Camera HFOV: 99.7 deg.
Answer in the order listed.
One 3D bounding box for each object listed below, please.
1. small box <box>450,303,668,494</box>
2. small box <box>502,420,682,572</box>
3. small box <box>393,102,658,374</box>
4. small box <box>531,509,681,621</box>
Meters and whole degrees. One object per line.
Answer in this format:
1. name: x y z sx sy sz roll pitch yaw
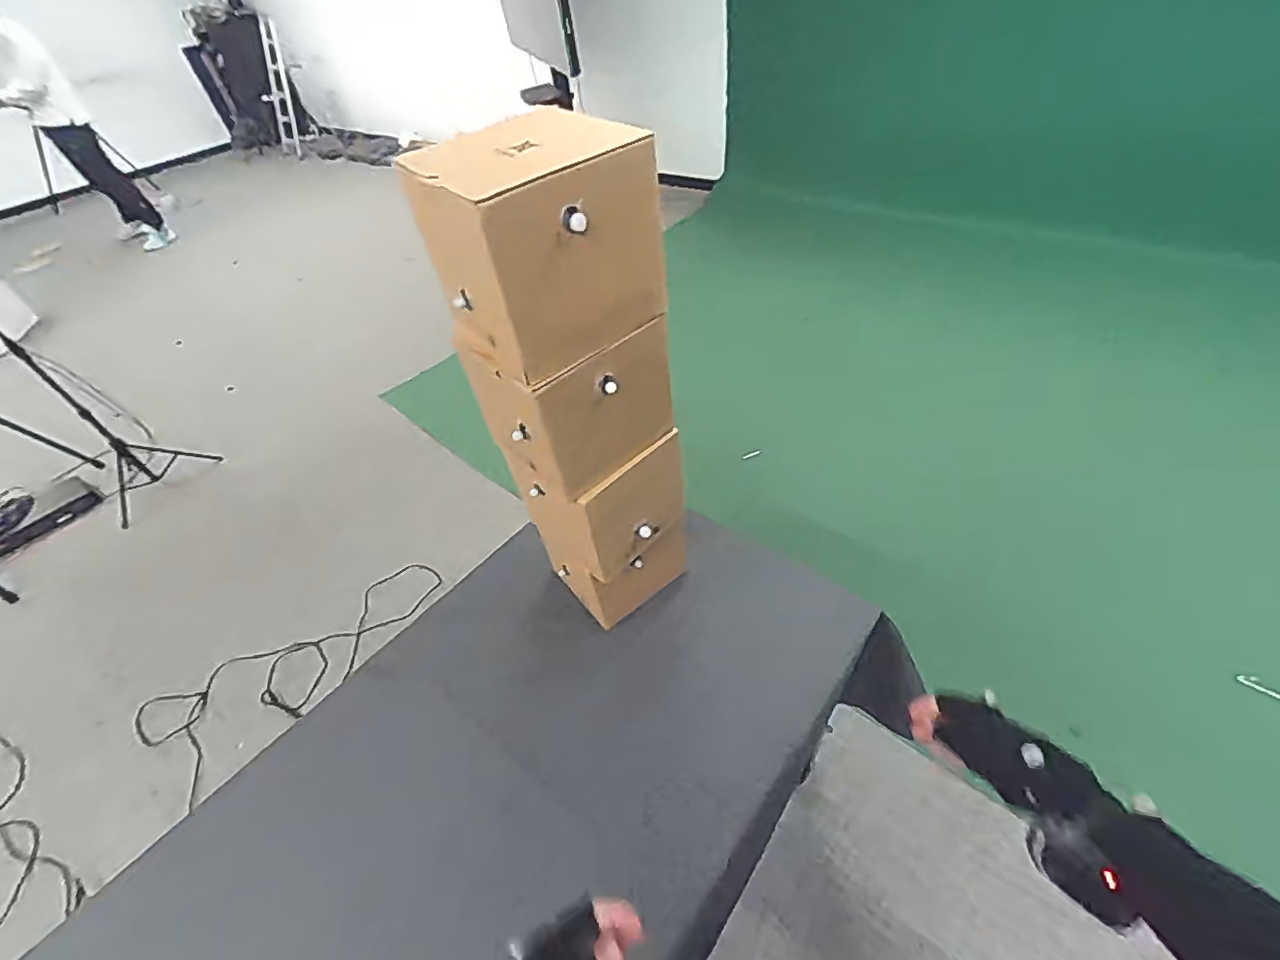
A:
1. small box: -0.082 -0.115 0.632 0.179 0.176 0.168 -36 52 -23
2. small box: -0.059 -0.005 0.750 0.168 0.176 0.179 -39 53 -25
3. small box: -0.095 -0.233 0.521 0.179 0.176 0.168 -35 52 -21
4. small box: -0.047 0.094 0.881 0.179 0.176 0.168 -33 51 -21
